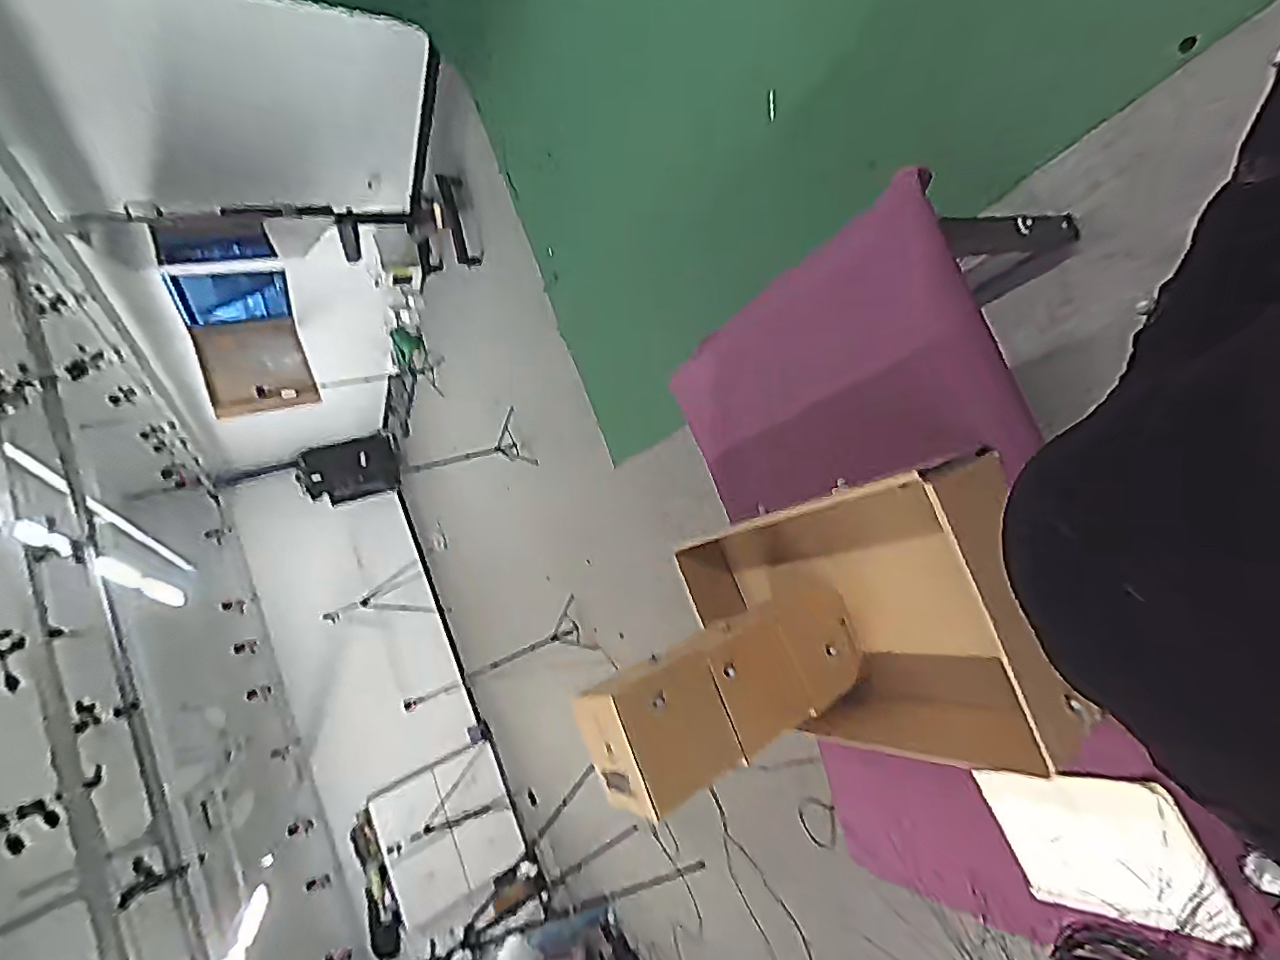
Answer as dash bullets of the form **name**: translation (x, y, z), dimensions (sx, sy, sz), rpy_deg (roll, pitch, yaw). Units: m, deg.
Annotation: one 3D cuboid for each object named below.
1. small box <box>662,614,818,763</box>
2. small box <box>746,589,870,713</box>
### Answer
- **small box**: translation (0.173, 0.351, 0.931), dimensions (0.168, 0.176, 0.179), rpy_deg (-34, 76, 56)
- **small box**: translation (0.304, 0.316, 1.020), dimensions (0.179, 0.176, 0.168), rpy_deg (-29, 80, 56)
